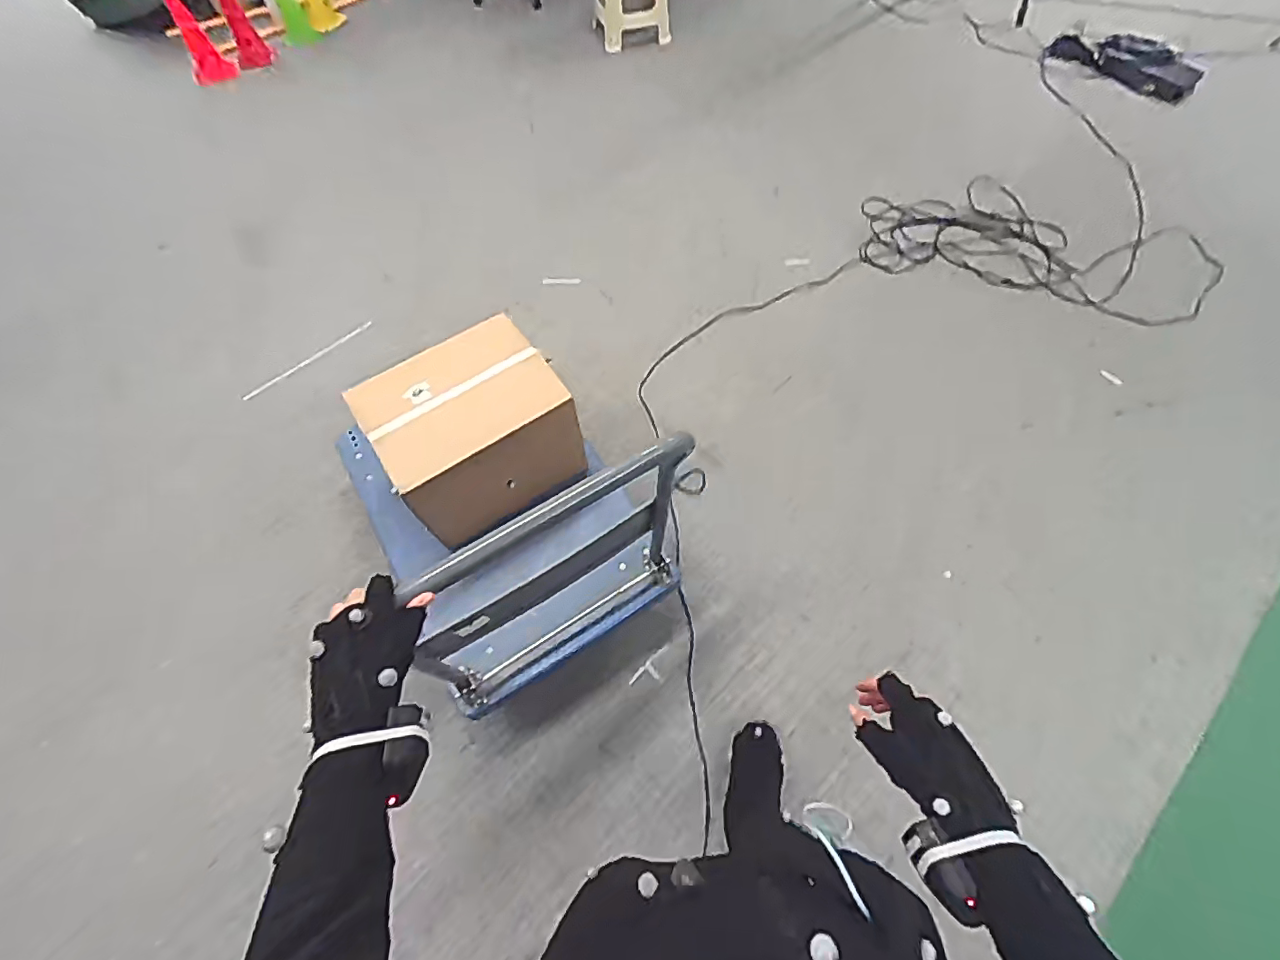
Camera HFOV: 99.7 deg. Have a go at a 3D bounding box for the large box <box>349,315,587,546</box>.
[{"bbox_3d":[-0.388,-0.113,1.309,0.408,0.320,0.320,-34,65,-14],"label":"large box"}]
